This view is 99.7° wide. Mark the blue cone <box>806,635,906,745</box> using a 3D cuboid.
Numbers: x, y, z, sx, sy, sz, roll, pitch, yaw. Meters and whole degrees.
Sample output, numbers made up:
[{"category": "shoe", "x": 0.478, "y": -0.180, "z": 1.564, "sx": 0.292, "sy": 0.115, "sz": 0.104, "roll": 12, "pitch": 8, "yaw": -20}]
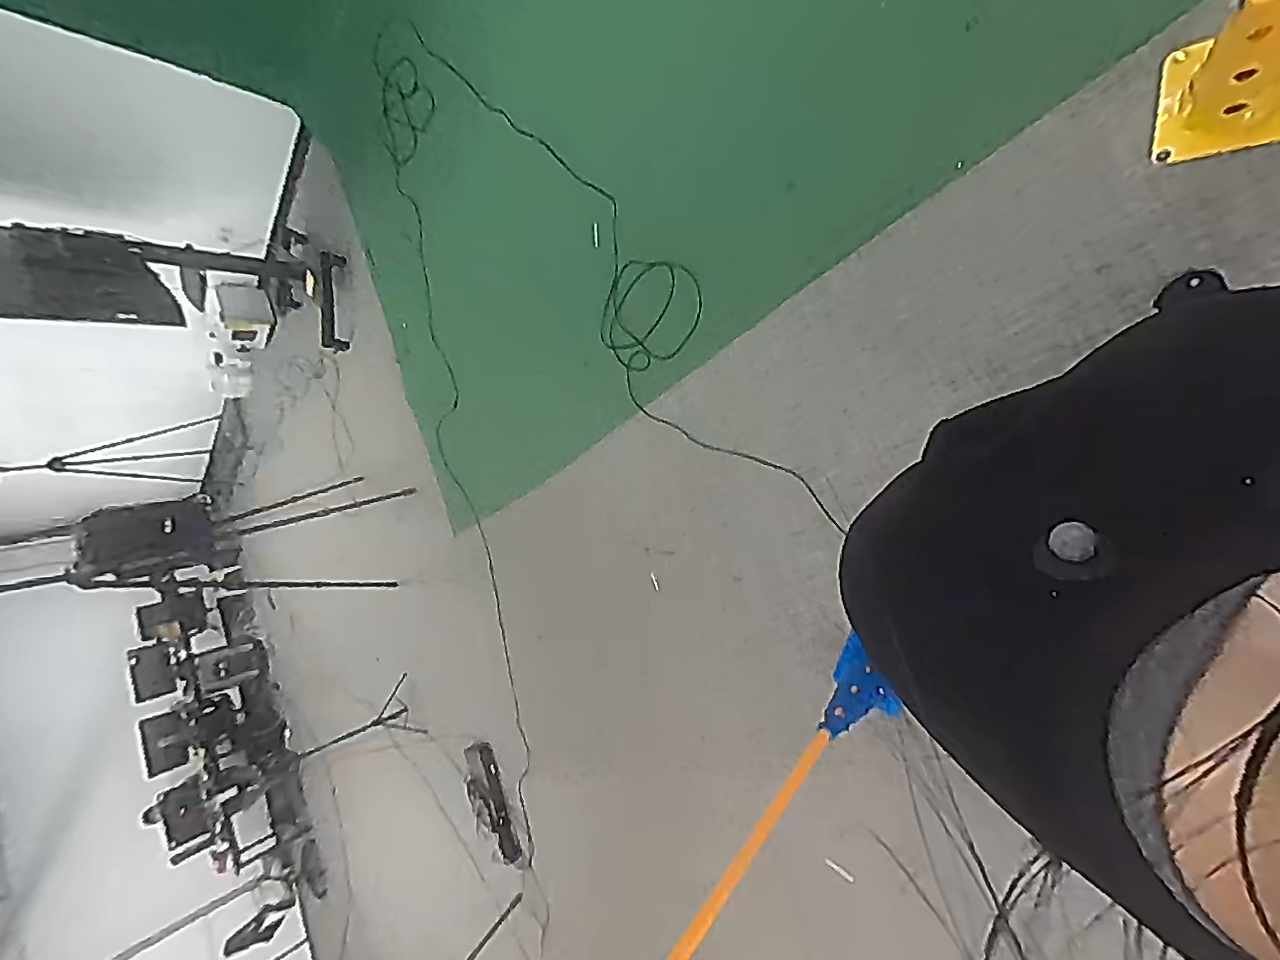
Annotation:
[{"category": "blue cone", "x": 0.541, "y": 0.588, "z": 1.423, "sx": 0.192, "sy": 0.380, "sz": 0.193, "roll": 26, "pitch": 116, "yaw": 35}]
